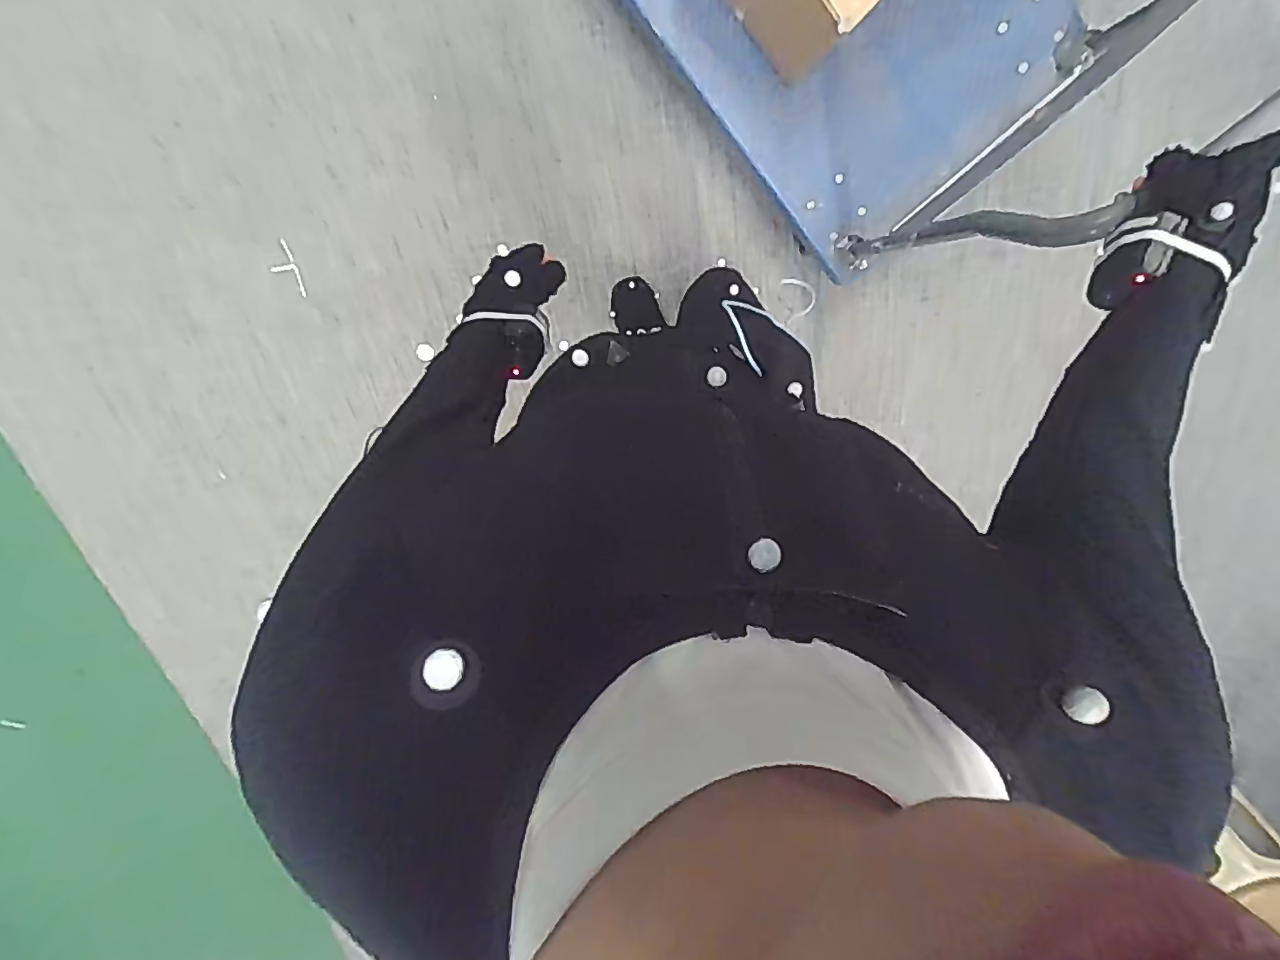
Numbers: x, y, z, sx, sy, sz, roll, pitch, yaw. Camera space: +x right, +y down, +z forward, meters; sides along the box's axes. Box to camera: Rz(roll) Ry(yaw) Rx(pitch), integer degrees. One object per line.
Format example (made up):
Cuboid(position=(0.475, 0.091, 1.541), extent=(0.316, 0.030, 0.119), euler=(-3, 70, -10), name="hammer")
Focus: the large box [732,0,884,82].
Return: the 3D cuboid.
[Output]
Cuboid(position=(0.324, -0.909, 0.787), extent=(0.408, 0.320, 0.320), euler=(-42, 106, 18), name="large box")
